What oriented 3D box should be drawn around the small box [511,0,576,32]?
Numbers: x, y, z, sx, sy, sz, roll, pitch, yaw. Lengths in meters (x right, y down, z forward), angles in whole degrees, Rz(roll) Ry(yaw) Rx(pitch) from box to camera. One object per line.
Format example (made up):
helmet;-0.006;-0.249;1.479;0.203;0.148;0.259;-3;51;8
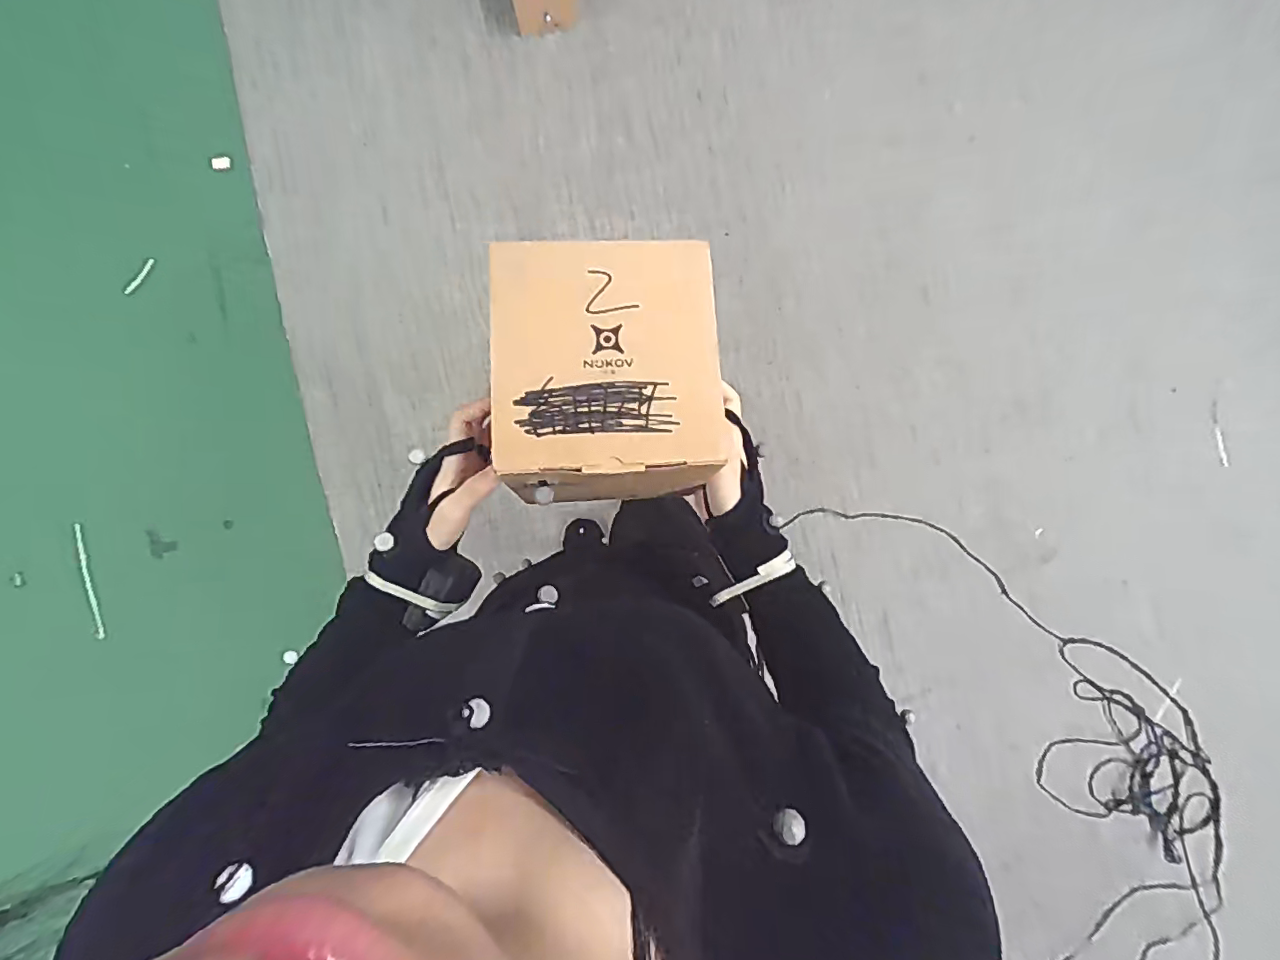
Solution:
small box;-0.263;-1.312;1.388;0.168;0.176;0.179;-12;92;-2
